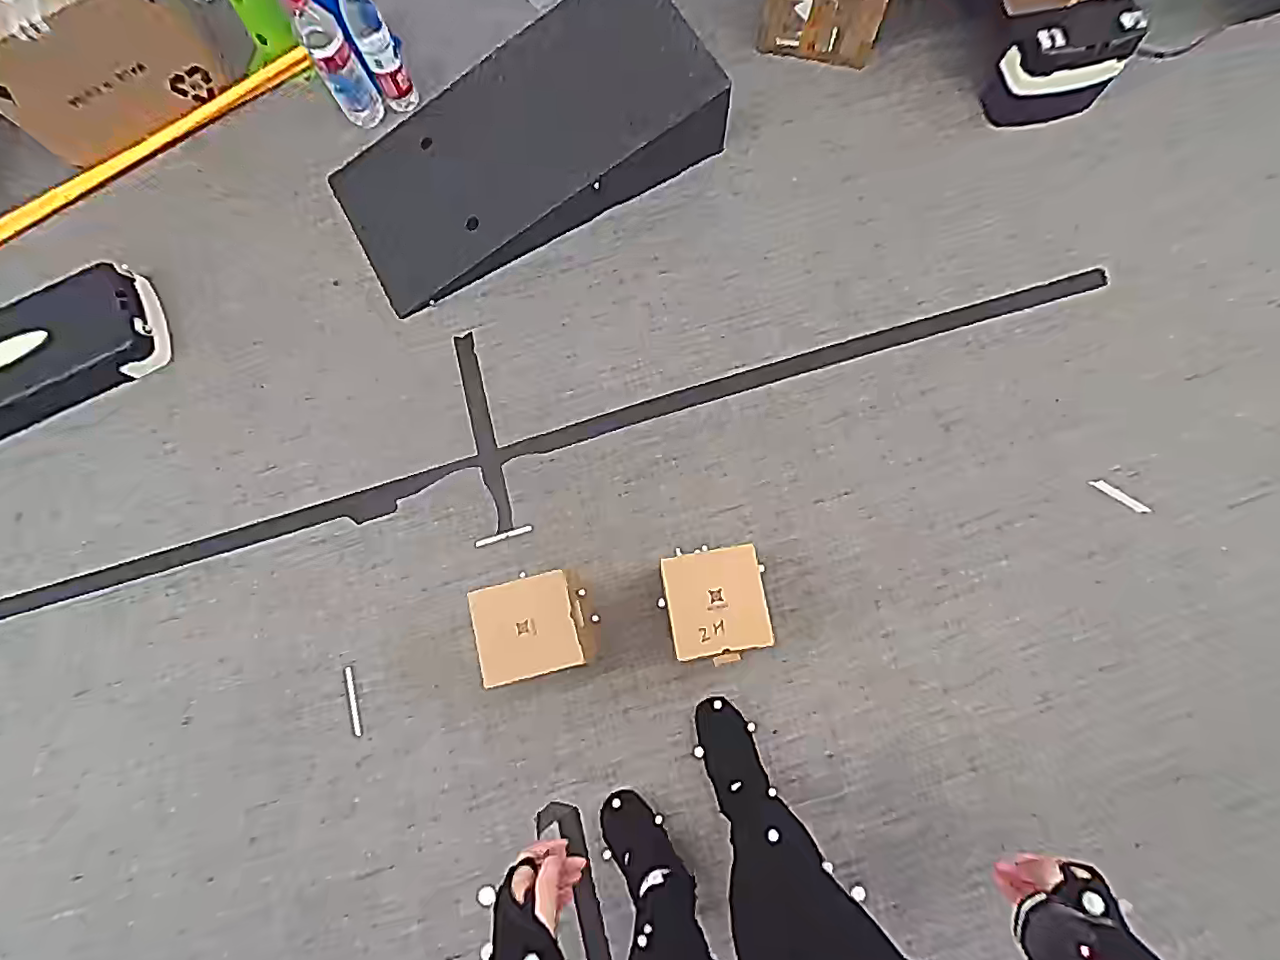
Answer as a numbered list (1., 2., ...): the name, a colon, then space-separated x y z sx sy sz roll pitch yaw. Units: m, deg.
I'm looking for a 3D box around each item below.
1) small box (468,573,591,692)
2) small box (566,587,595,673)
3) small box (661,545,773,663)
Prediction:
1. small box: -0.192 0.270 0.989 0.179 0.176 0.168 -14 77 -1
2. small box: -0.193 0.319 1.146 0.179 0.176 0.168 -10 77 -1
3. small box: 0.130 0.226 0.987 0.168 0.176 0.179 -10 78 0
